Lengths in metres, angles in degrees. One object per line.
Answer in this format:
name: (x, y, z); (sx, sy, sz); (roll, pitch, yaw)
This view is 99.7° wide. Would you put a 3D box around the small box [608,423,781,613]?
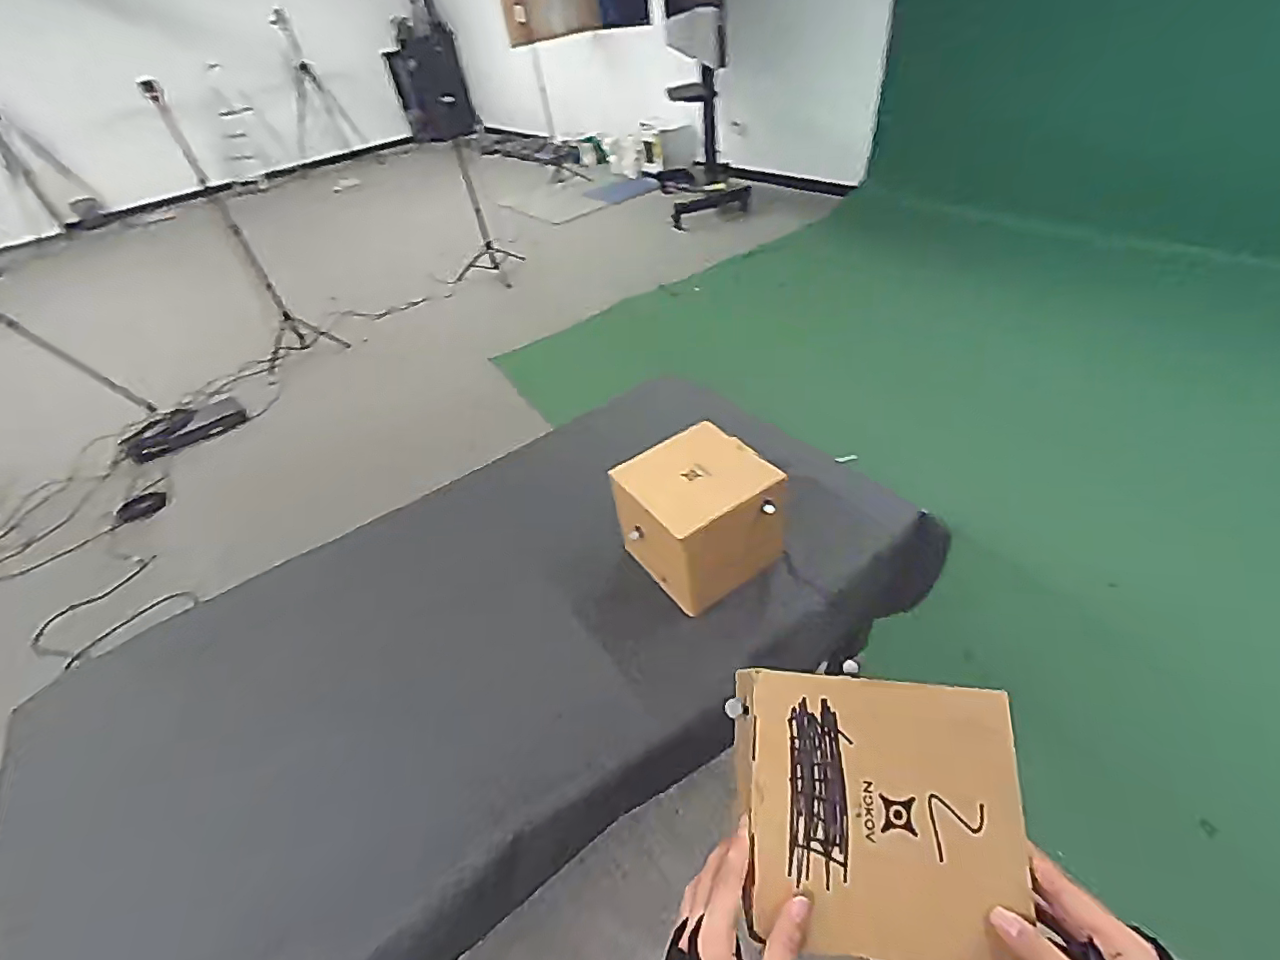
small box: (0.081, 0.054, 0.768); (0.179, 0.176, 0.168); (-29, 45, -20)
